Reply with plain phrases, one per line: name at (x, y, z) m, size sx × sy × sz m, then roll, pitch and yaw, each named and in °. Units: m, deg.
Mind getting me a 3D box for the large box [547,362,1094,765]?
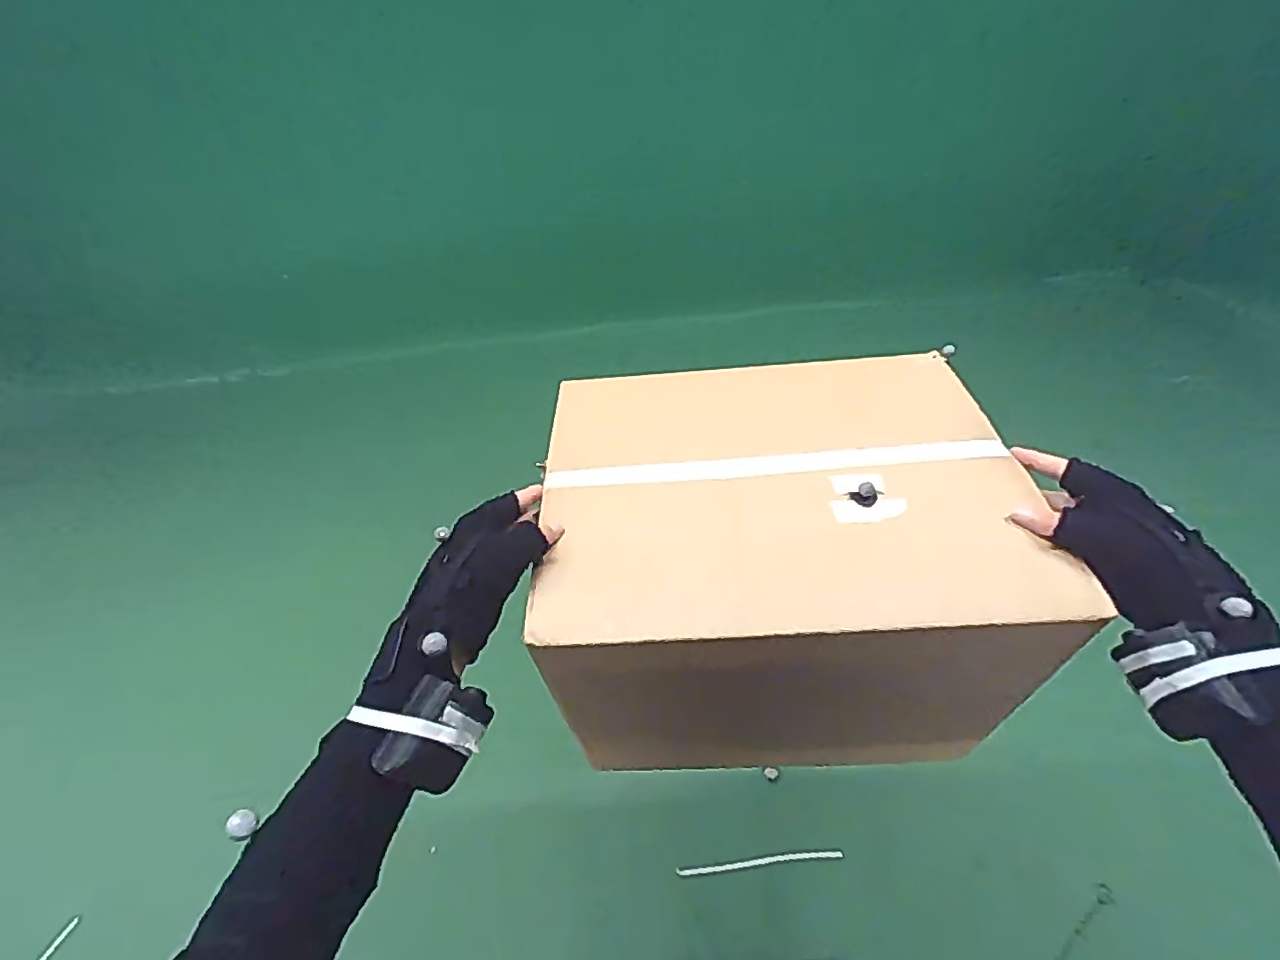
large box at (0.134, 0.097, 0.598) m, size 0.408 × 0.320 × 0.320 m, roll -3°, pitch 47°, yaw 3°
